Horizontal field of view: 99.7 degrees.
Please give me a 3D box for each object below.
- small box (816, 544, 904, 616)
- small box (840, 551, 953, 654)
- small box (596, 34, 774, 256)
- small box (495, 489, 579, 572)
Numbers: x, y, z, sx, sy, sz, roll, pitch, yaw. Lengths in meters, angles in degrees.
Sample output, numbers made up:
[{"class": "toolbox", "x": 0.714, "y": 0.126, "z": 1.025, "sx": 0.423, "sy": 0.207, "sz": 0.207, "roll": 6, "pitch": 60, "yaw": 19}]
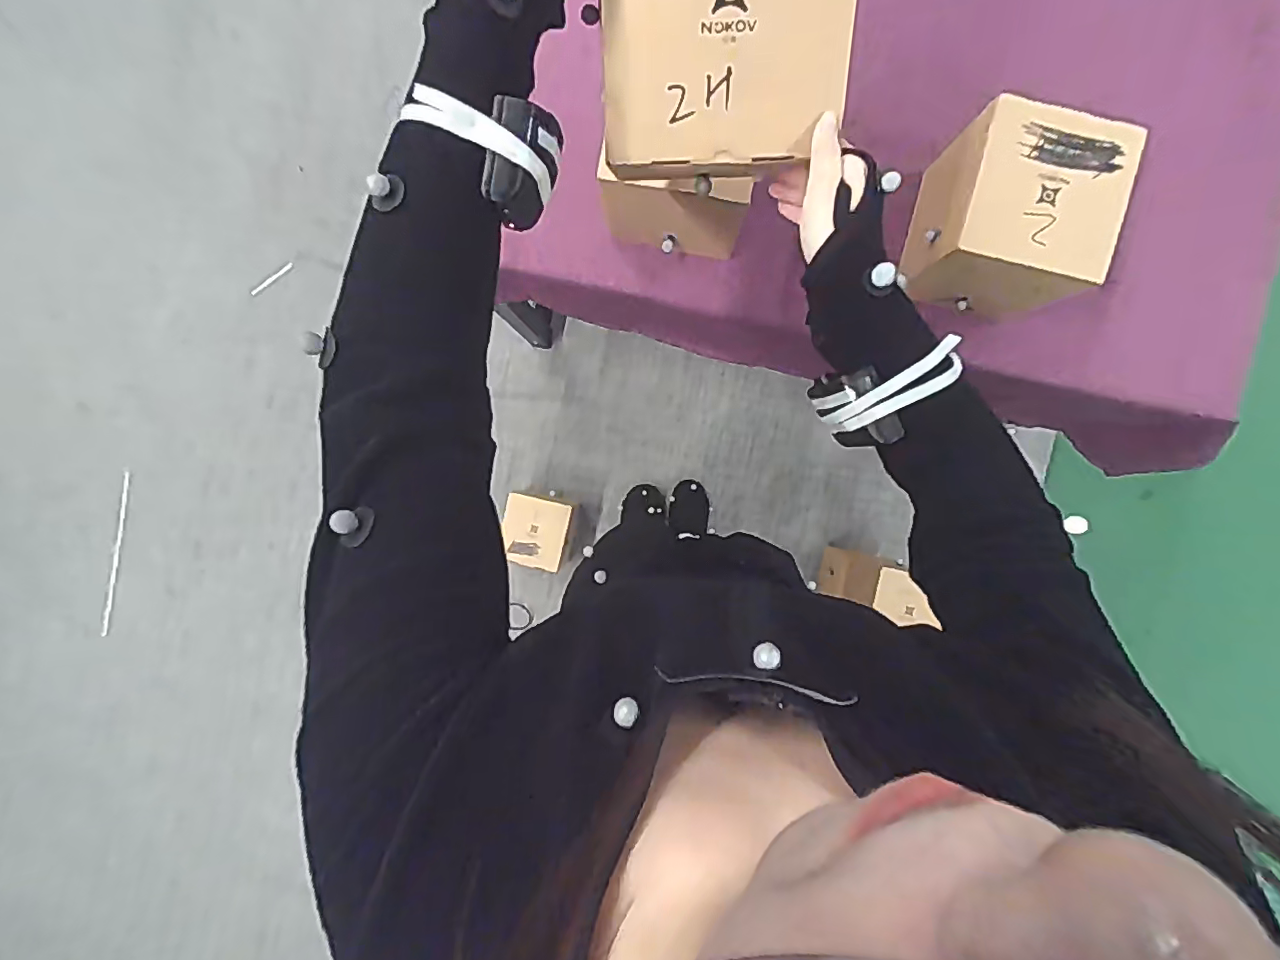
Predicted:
[{"class": "small box", "x": 0.580, "y": 0.270, "z": 1.422, "sx": 0.179, "sy": 0.176, "sz": 0.168, "roll": 10, "pitch": 93, "yaw": 0}, {"class": "small box", "x": 0.586, "y": 0.277, "z": 1.260, "sx": 0.168, "sy": 0.176, "sz": 0.179, "roll": 13, "pitch": 92, "yaw": -1}, {"class": "small box", "x": 0.050, "y": -0.402, "z": 0.682, "sx": 0.179, "sy": 0.176, "sz": 0.168, "roll": 10, "pitch": 92, "yaw": 0}, {"class": "small box", "x": -0.266, "y": 0.128, "z": 1.438, "sx": 0.168, "sy": 0.176, "sz": 0.179, "roll": 13, "pitch": 91, "yaw": 1}]
